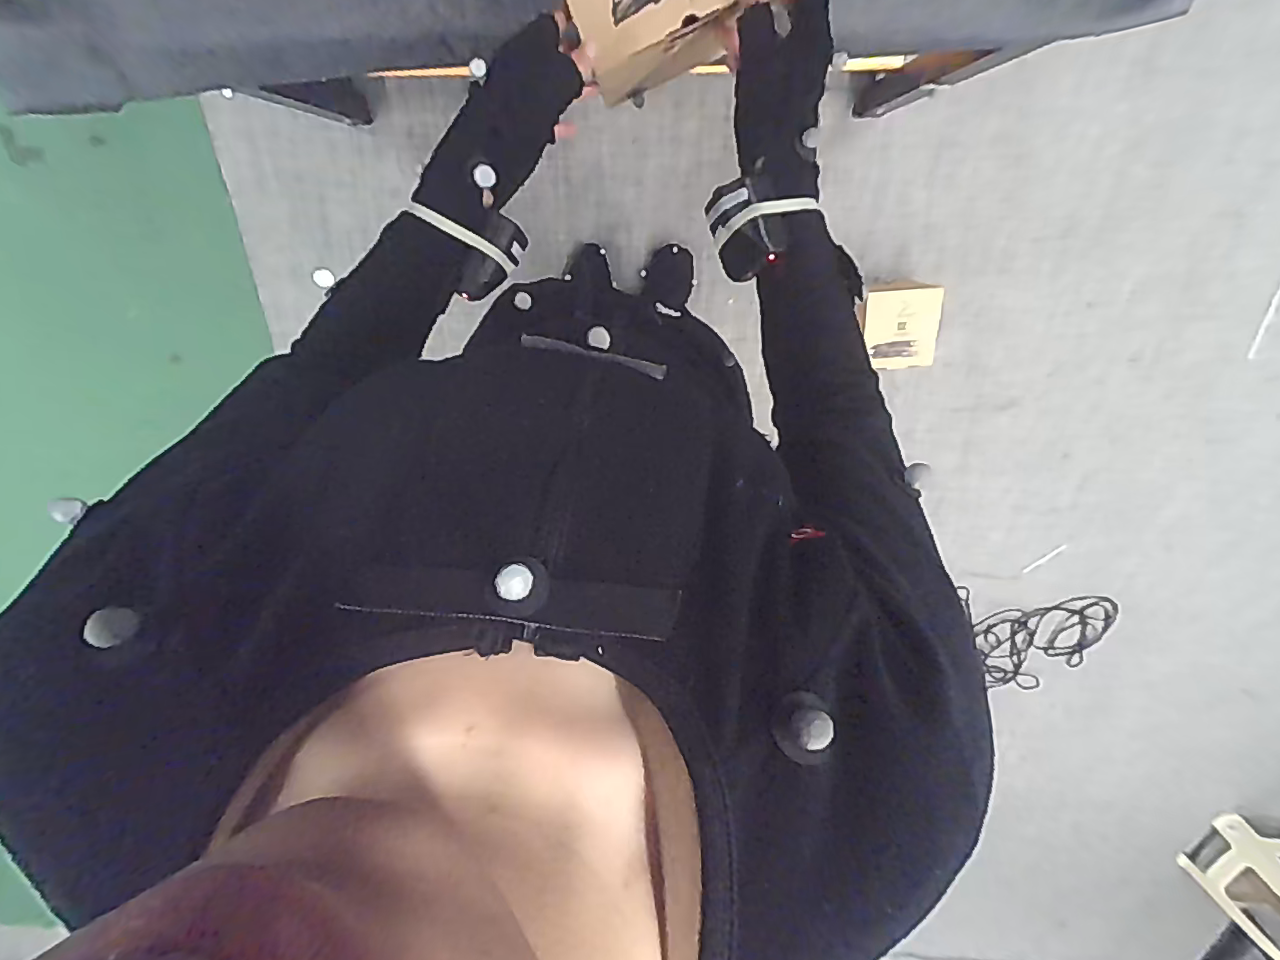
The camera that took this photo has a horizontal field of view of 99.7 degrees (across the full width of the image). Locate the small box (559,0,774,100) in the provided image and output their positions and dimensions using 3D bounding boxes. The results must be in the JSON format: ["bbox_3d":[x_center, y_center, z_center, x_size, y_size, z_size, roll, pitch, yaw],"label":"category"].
[{"bbox_3d":[0.007,-0.446,0.447,0.168,0.176,0.179,-19,115,10],"label":"small box"}]
